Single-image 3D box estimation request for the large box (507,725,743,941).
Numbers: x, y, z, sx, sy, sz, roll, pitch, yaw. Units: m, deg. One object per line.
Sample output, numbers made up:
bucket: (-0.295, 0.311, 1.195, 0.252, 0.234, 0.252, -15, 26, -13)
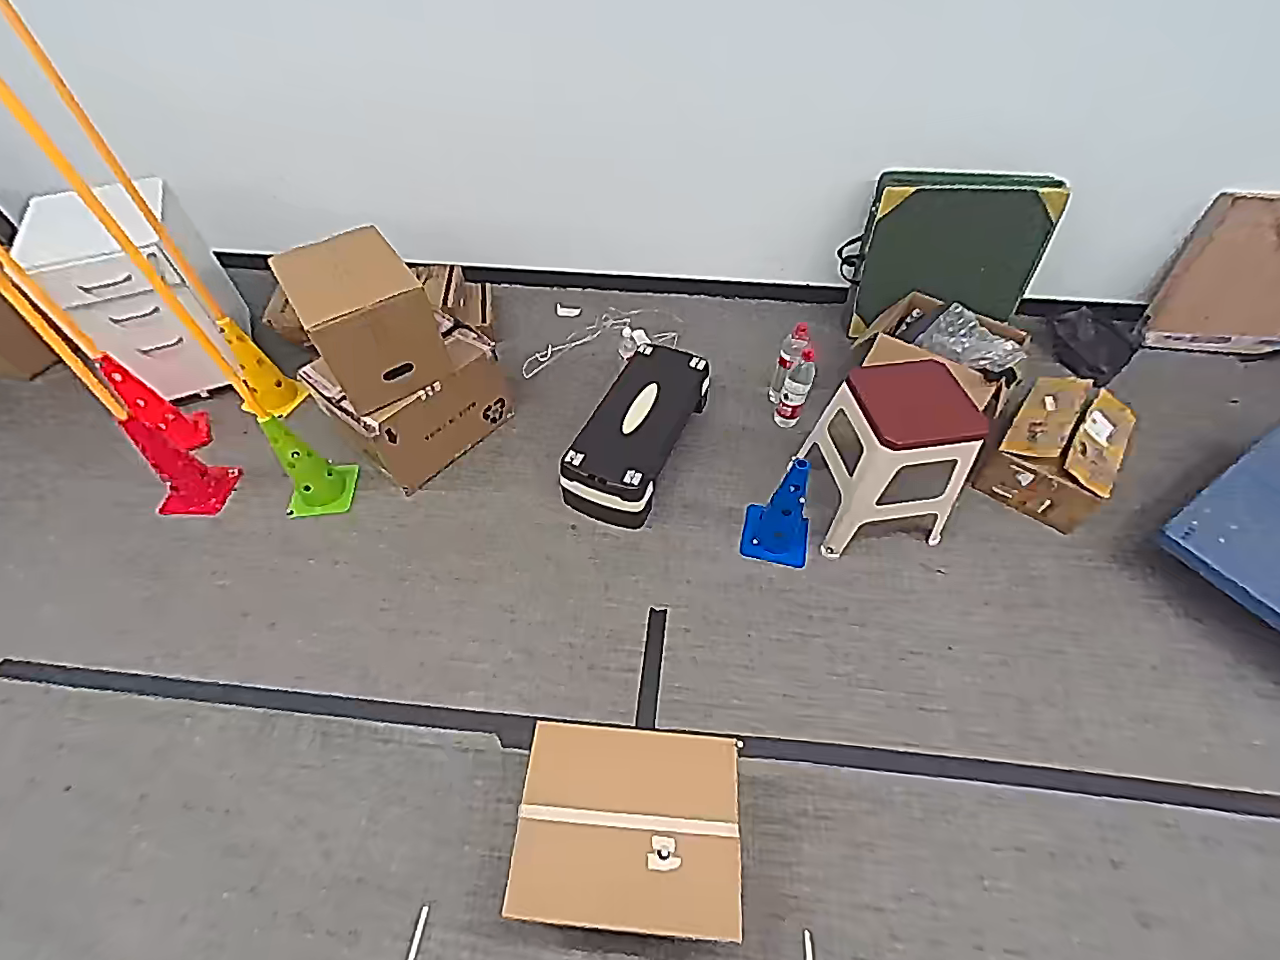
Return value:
large box: (-0.021, 0.718, 1.104, 0.408, 0.320, 0.320, 5, 53, 2)
